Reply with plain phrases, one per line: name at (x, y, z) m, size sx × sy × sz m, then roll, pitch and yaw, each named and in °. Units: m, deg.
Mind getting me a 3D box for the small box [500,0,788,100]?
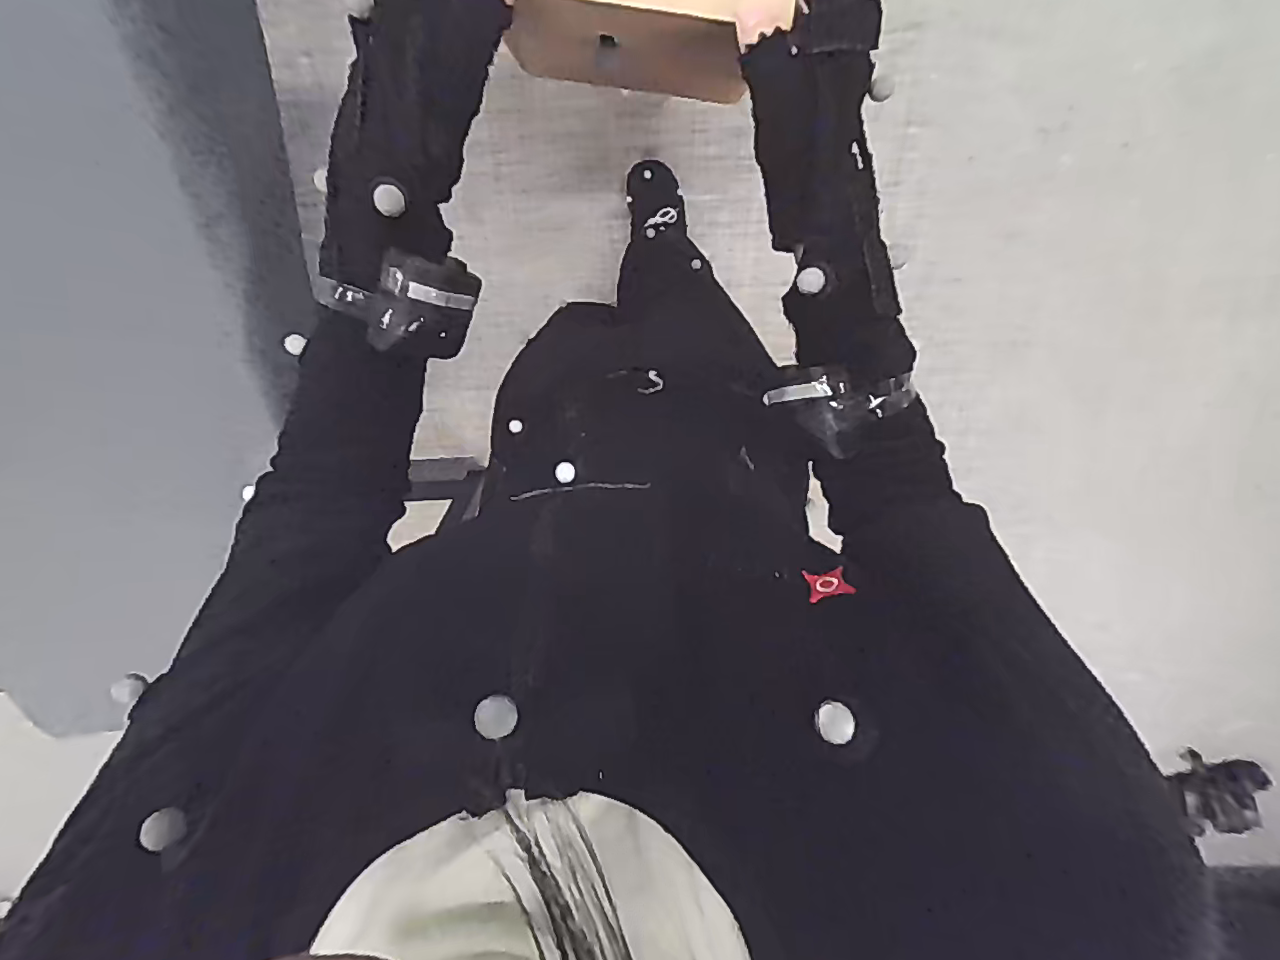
small box at (0.004, -0.358, 0.329) m, size 0.179 × 0.176 × 0.168 m, roll 8°, pitch 113°, yaw -3°
